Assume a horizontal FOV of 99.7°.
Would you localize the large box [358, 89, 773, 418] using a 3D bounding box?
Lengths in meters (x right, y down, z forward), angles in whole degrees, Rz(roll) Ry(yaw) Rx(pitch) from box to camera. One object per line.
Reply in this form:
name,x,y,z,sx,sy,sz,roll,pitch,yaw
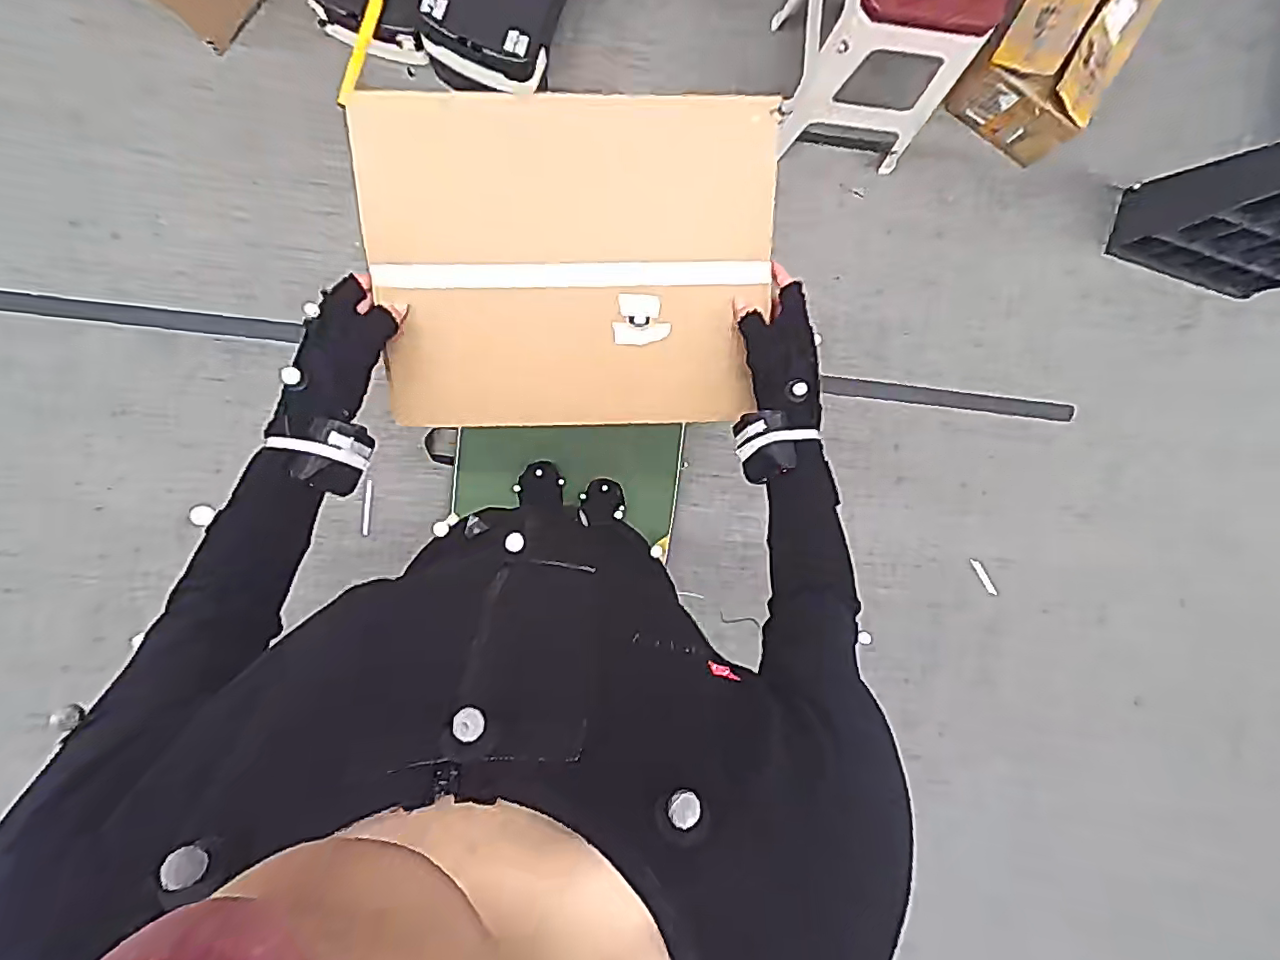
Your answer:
large box,-0.075,-0.269,0.701,0.408,0.320,0.320,-2,109,-3
